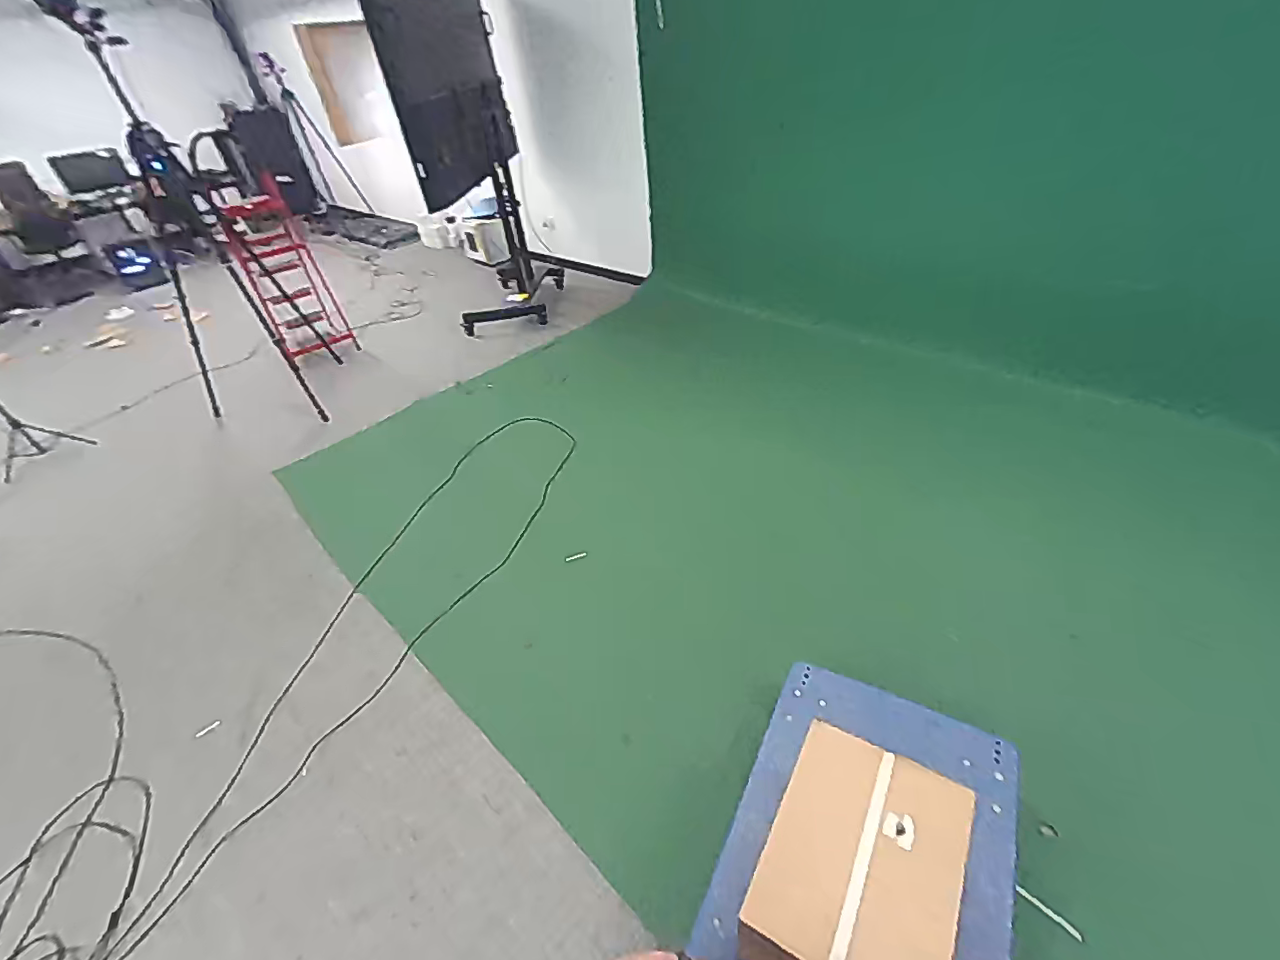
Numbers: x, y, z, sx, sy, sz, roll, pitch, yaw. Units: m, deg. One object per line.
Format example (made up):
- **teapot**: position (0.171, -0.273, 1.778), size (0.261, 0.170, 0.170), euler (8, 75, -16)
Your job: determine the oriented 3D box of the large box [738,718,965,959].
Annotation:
- **large box**: position (0.410, 0.784, 1.074), size (0.320, 0.320, 0.408), euler (18, 45, 27)
